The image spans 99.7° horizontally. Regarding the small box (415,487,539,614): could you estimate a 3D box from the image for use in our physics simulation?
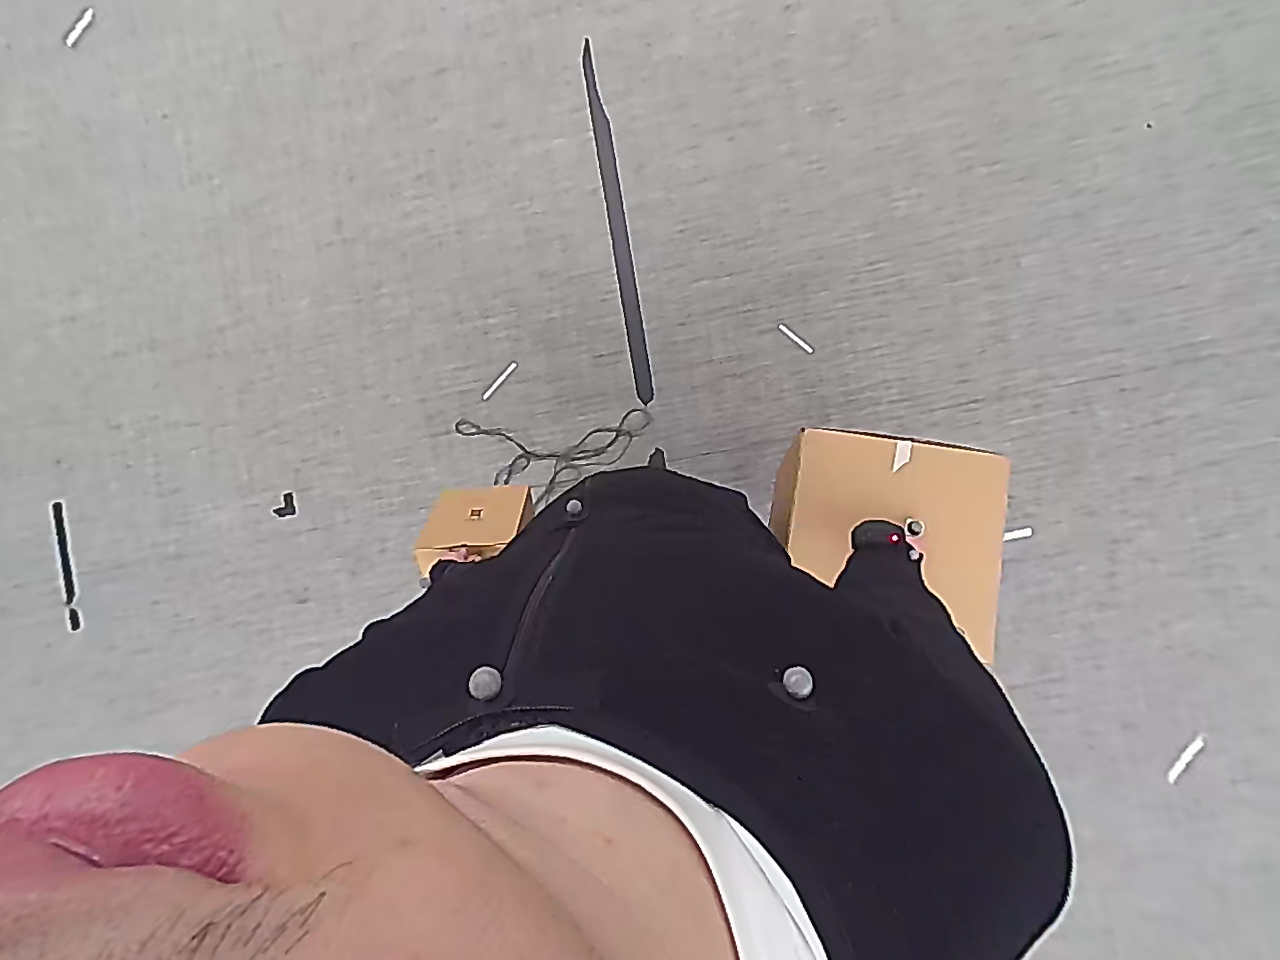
[{"bbox_3d":[-0.285,0.132,0.993,0.168,0.179,0.176,-2,124,0],"label":"small box"}]
